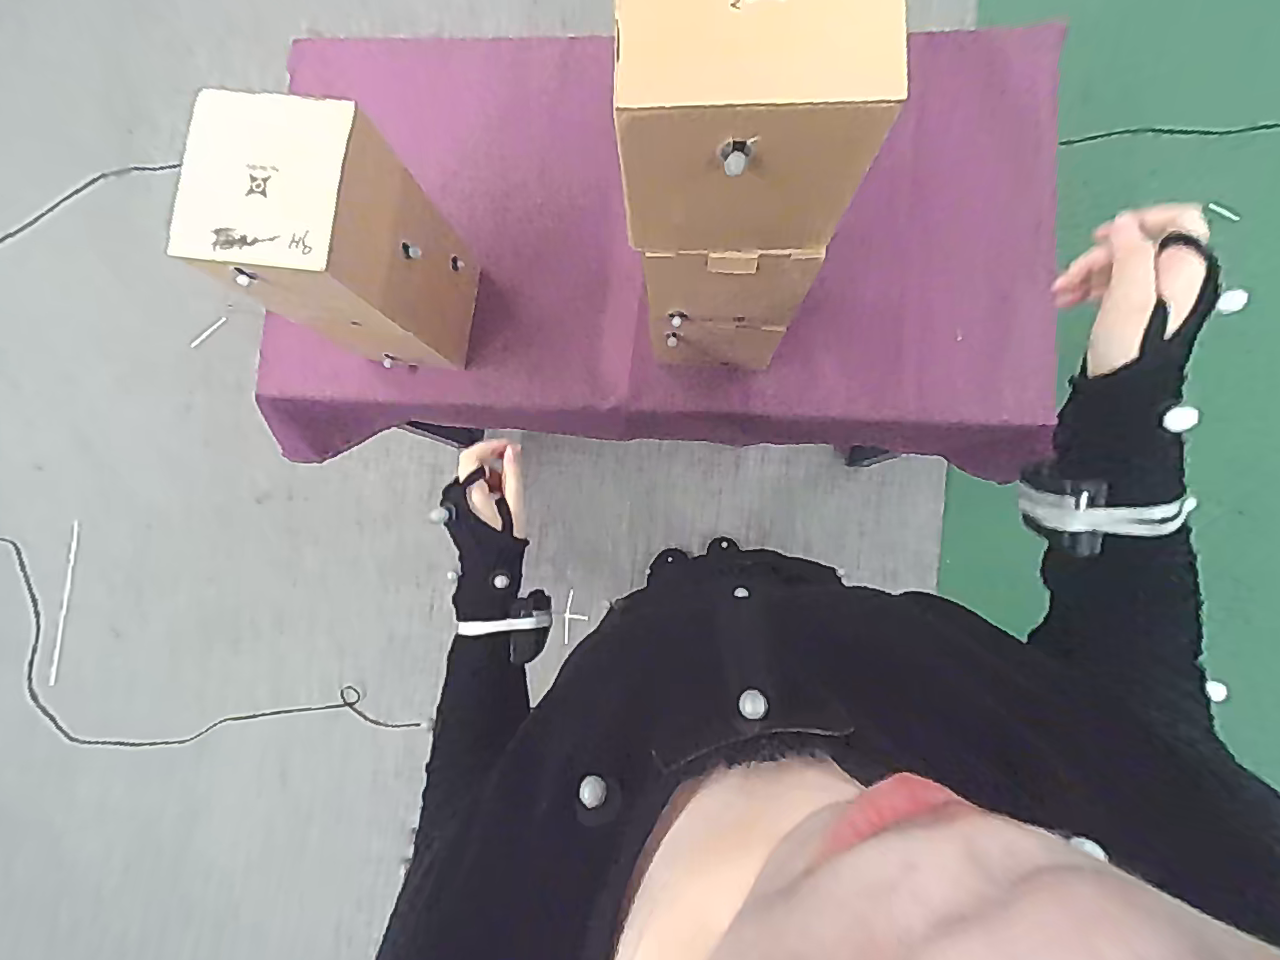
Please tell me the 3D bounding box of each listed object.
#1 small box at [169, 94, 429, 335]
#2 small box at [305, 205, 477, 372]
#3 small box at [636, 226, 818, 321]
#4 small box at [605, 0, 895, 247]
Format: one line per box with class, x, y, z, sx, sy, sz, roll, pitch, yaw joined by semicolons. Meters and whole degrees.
small box;-0.360;-0.284;0.607;0.168;0.176;0.179;7;85;6
small box;-0.348;-0.270;0.771;0.168;0.176;0.179;8;86;5
small box;0.089;-0.280;0.574;0.168;0.176;0.179;2;84;4
small box;0.073;-0.297;0.413;0.179;0.176;0.168;1;85;5
